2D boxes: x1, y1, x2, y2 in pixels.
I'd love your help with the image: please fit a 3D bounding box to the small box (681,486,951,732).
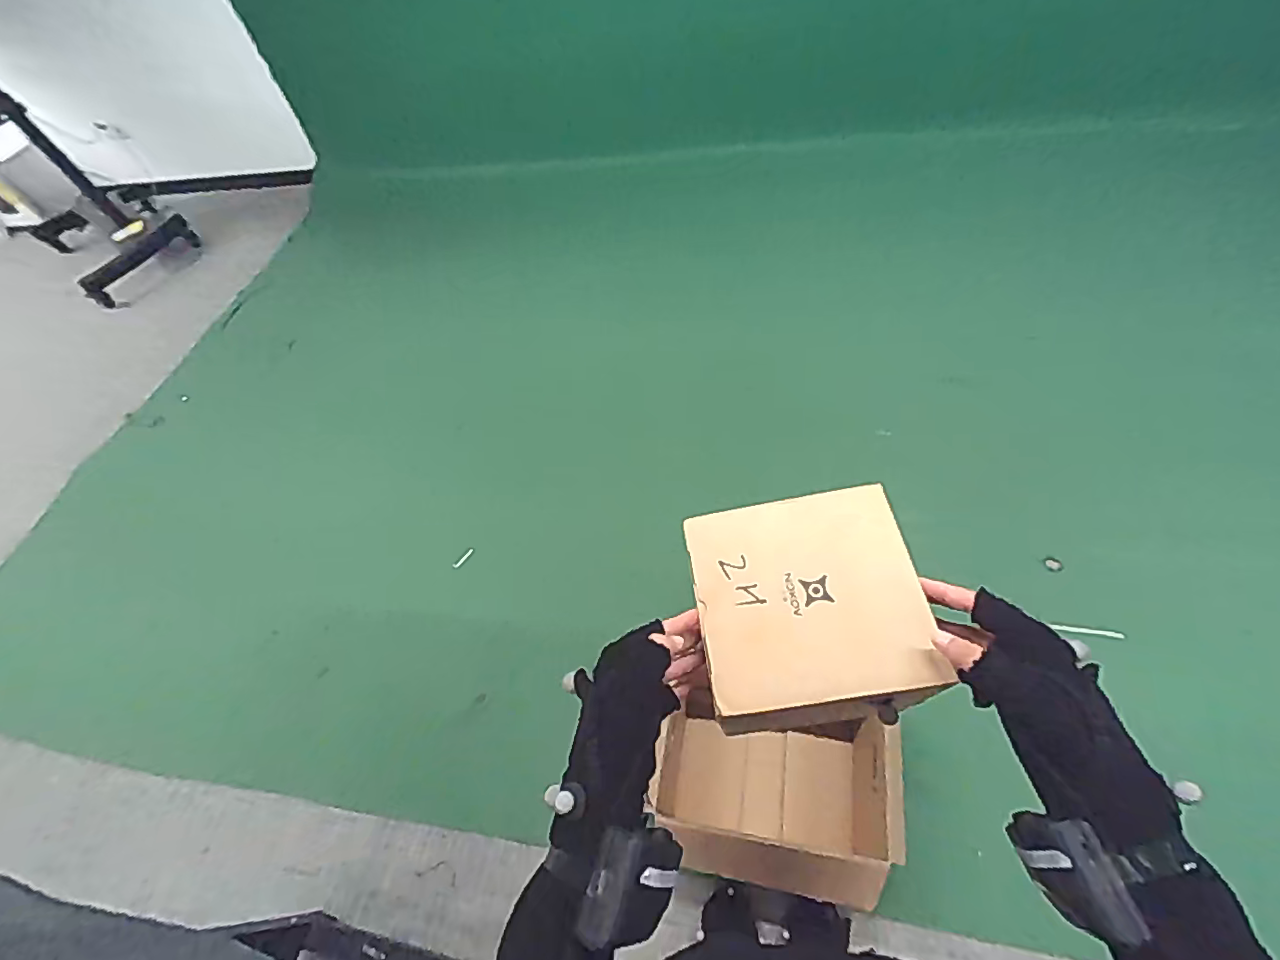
[{"bbox_3d":[0.142,0.128,0.498,0.179,0.176,0.168,-11,59,6],"label":"small box"}]
